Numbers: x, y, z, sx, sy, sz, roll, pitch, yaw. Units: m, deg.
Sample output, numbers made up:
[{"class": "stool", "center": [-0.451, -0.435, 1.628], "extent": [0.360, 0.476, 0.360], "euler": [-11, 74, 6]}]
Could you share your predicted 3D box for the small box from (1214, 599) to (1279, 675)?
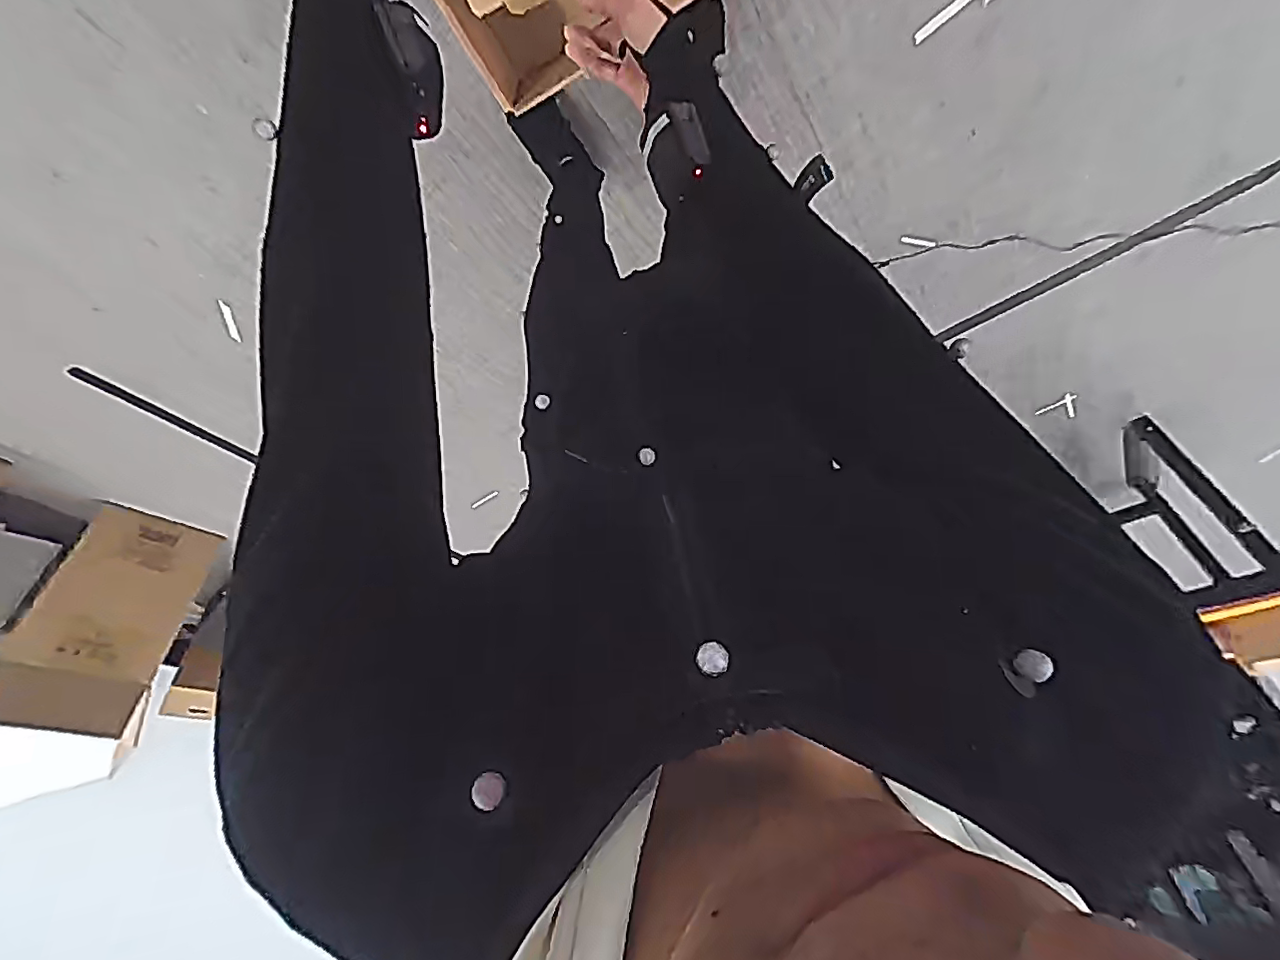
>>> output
[{"class": "small box", "center": [2.001, 0.502, 1.727], "extent": [0.179, 0.176, 0.168], "euler": [-26, 136, 27]}]
